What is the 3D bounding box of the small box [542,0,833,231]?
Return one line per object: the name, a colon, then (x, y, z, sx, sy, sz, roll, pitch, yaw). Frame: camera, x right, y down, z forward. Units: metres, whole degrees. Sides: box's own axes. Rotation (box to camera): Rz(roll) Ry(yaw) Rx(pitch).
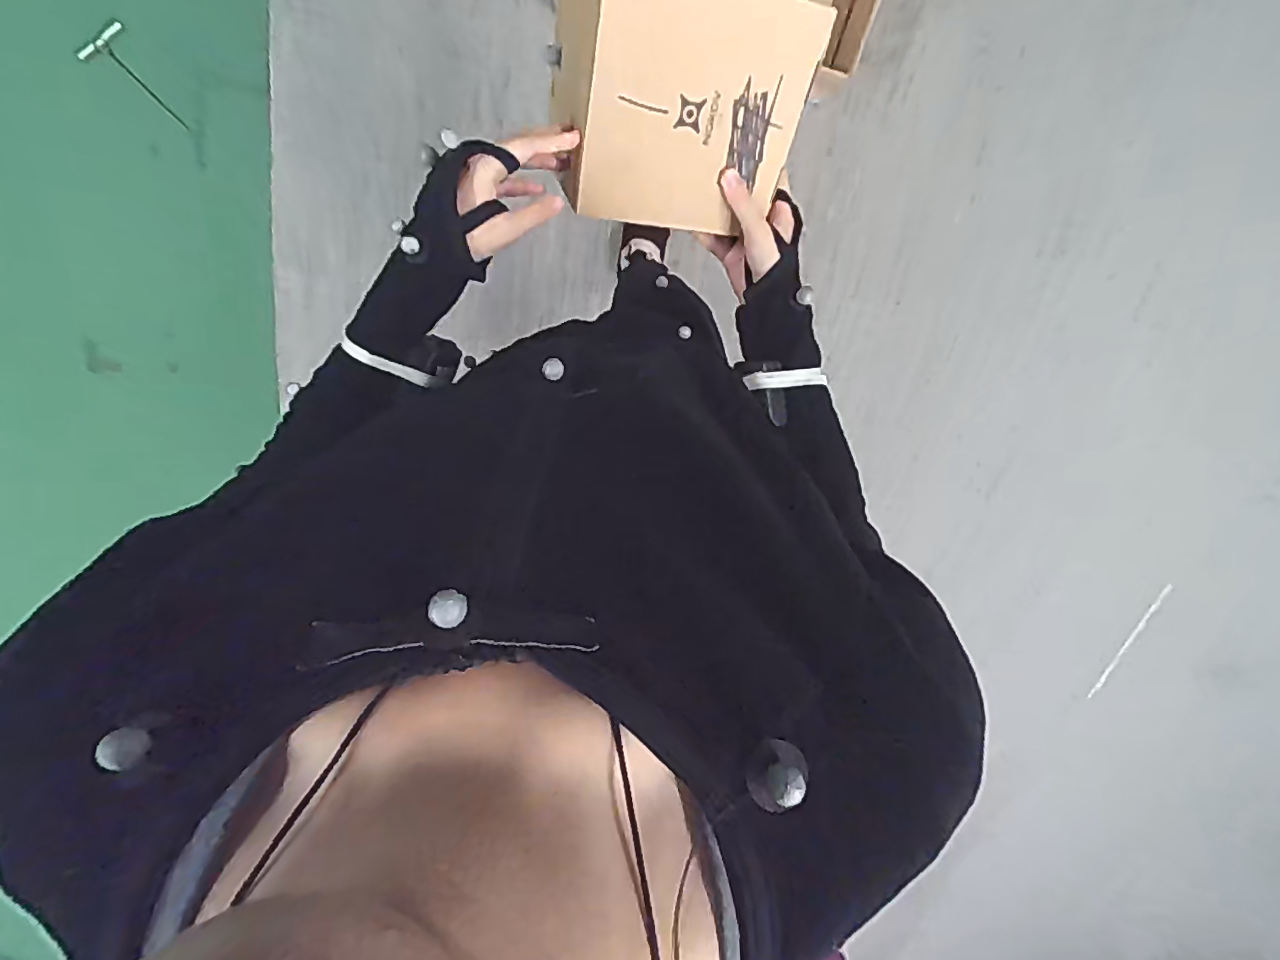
small box: (0.021, -0.338, 0.464, 0.179, 0.176, 0.168, -1, 134, -19)
